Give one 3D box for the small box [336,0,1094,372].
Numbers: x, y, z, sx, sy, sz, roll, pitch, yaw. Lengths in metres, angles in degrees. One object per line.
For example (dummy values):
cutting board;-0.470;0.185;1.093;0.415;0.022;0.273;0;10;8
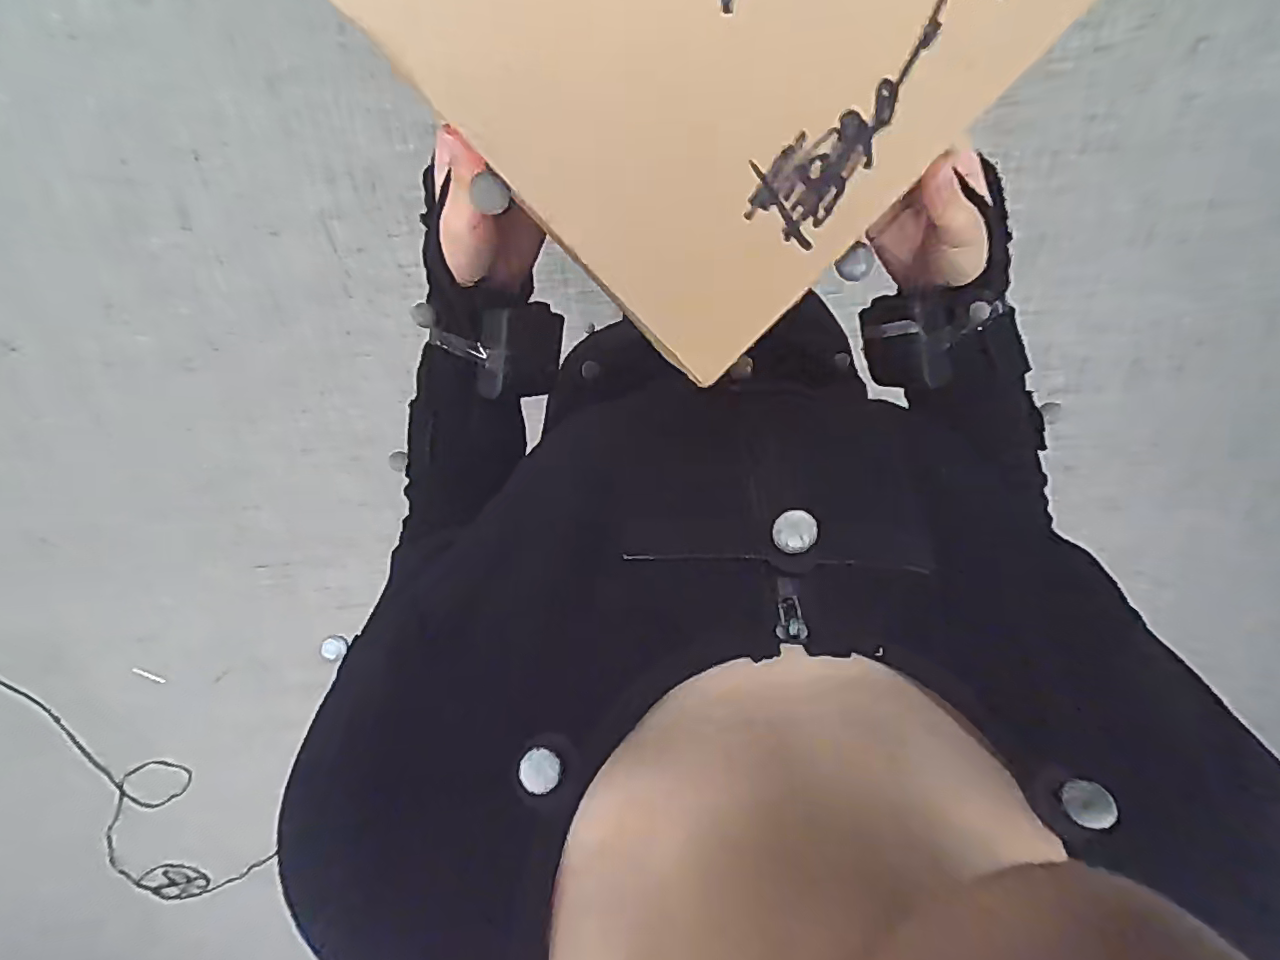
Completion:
small box;0.017;-0.166;0.223;0.179;0.176;0.168;42;102;-12
